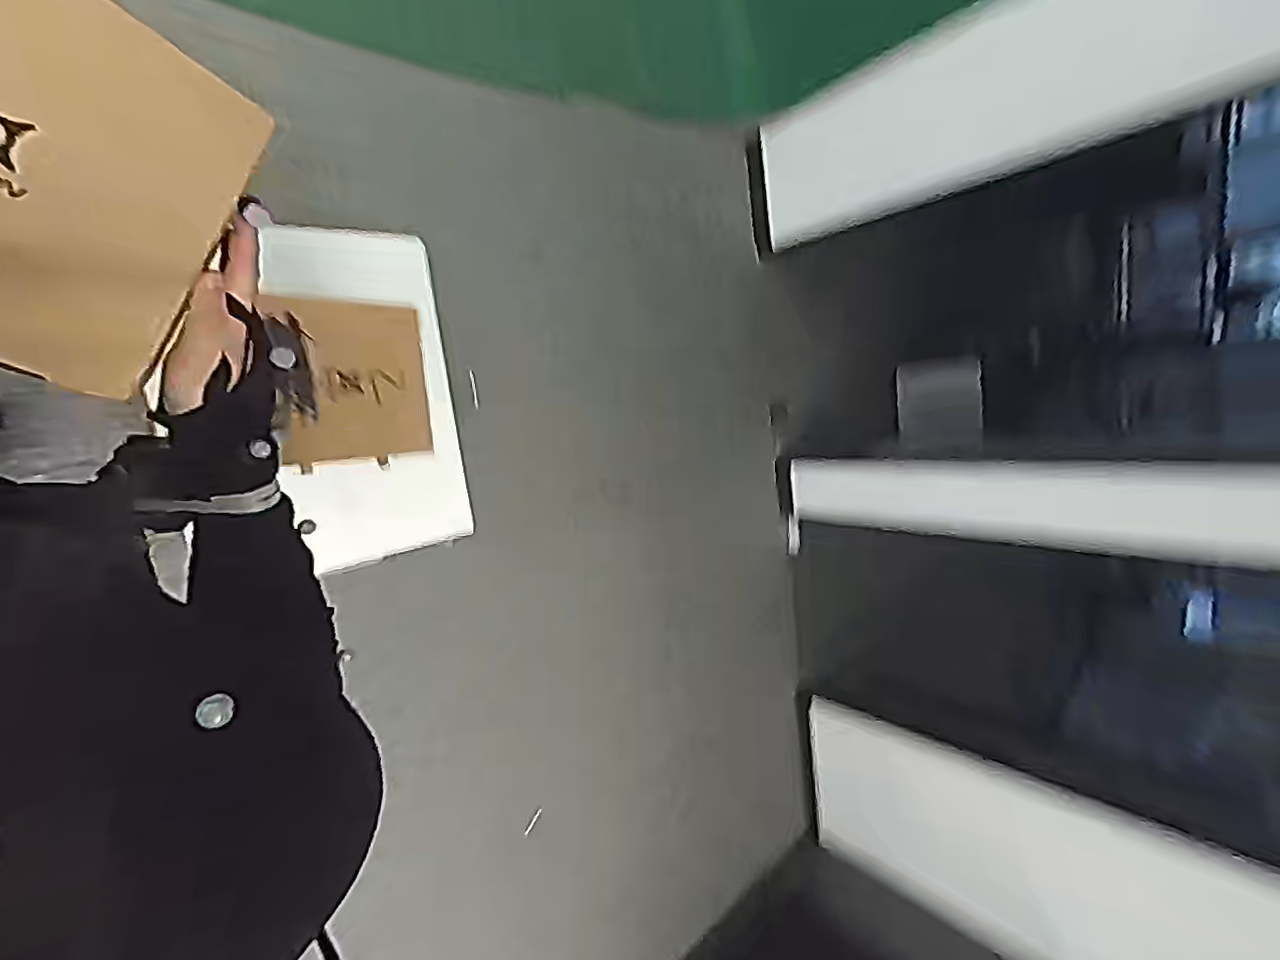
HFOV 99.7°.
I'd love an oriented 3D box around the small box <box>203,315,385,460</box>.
[{"bbox_3d":[-0.464,-0.115,0.726,0.179,0.176,0.168,-5,97,-42],"label":"small box"}]
